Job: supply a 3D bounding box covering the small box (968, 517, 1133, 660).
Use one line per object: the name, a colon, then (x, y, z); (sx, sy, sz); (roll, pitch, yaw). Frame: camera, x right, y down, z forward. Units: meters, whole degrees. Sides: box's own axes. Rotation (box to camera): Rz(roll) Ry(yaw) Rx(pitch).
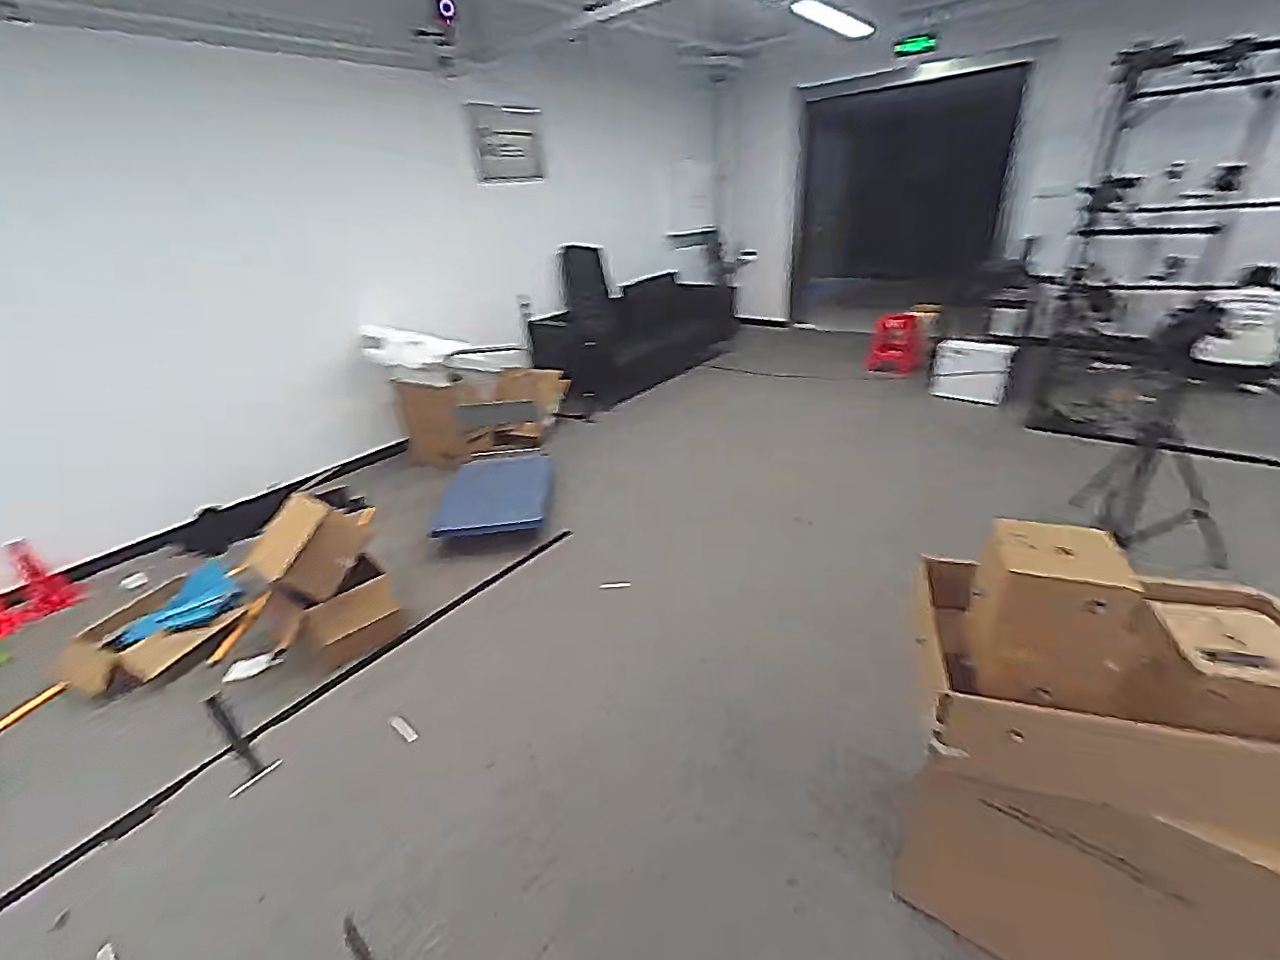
small box: (0.699, 0.187, 0.945); (0.179, 0.176, 0.168); (6, 30, 21)
